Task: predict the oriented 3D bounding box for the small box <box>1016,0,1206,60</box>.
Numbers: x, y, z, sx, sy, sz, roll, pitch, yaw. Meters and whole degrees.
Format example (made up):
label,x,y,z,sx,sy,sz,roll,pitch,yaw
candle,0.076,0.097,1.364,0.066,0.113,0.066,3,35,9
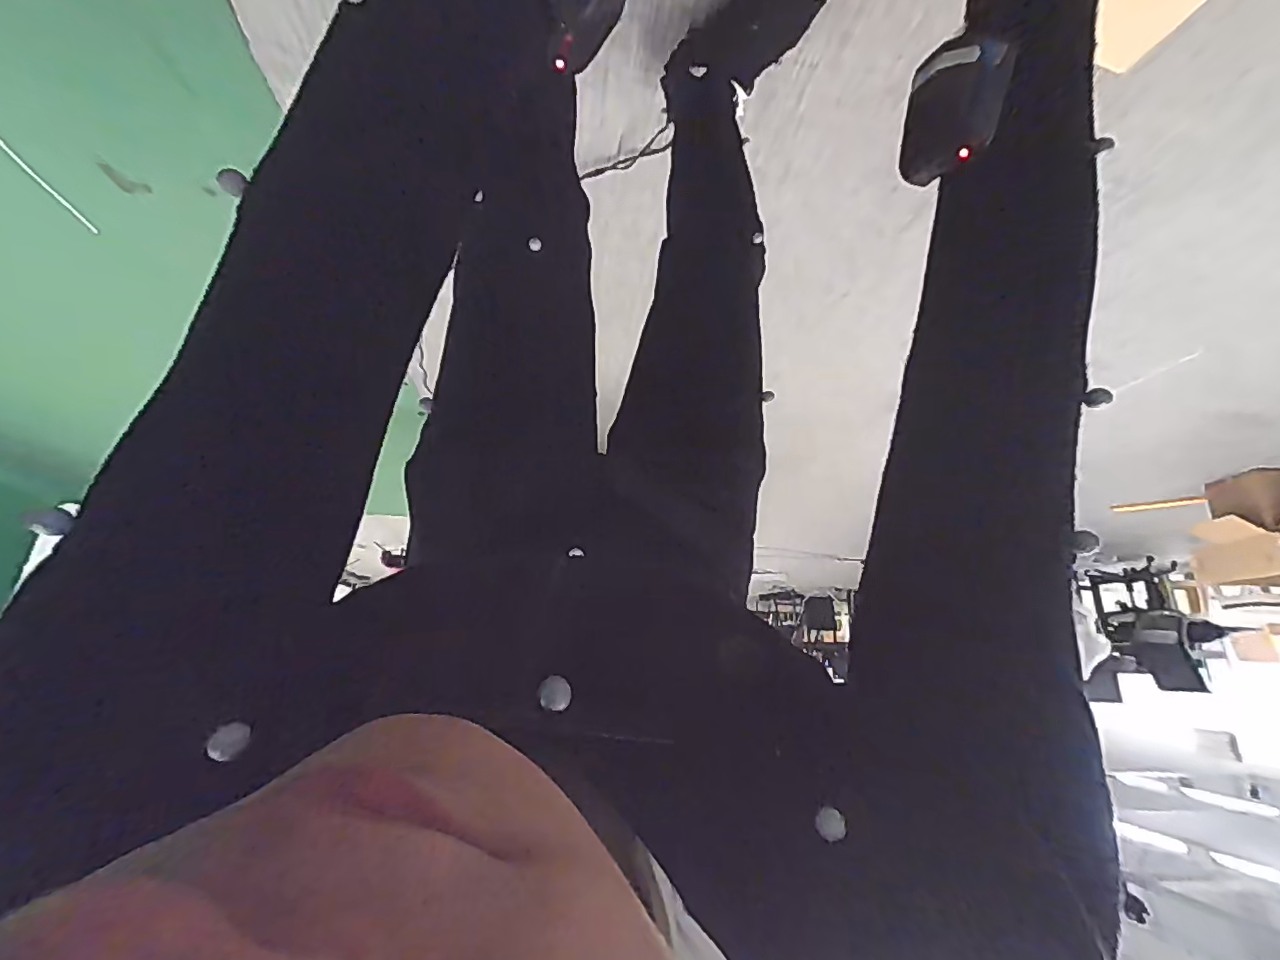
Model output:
label,x,y,z,sx,sy,sz,roll,pitch,yaw
small box,0.481,-0.563,0.511,0.179,0.176,0.168,8,163,-14
